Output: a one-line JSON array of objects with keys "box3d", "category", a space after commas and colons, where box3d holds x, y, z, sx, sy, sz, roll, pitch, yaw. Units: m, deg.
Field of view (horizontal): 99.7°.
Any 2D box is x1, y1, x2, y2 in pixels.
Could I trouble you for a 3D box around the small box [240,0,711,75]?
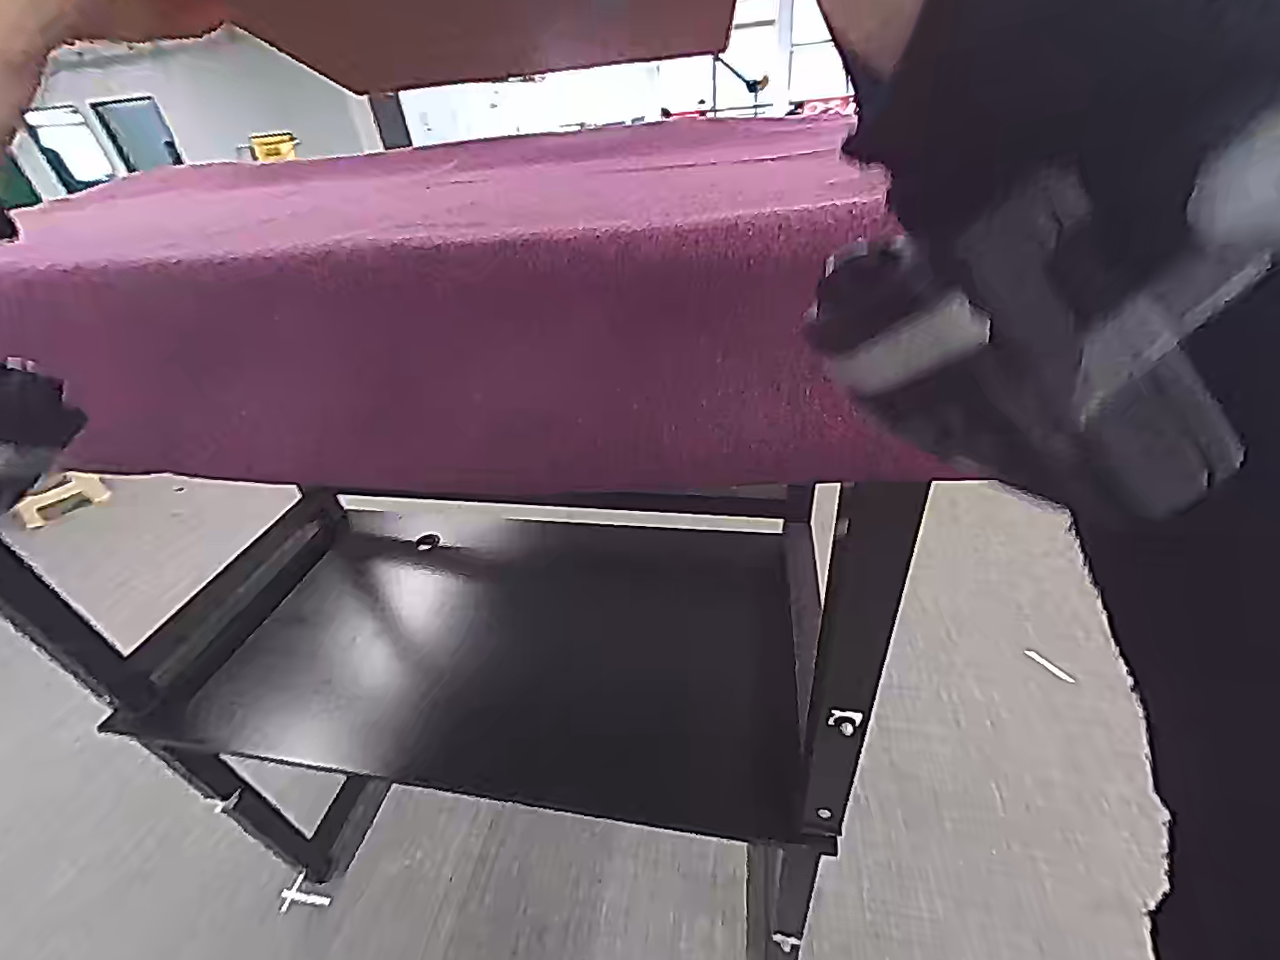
[{"box3d": [-0.057, -0.235, 0.136, 0.179, 0.168, 0.176, -2, 18, 6], "category": "small box"}]
